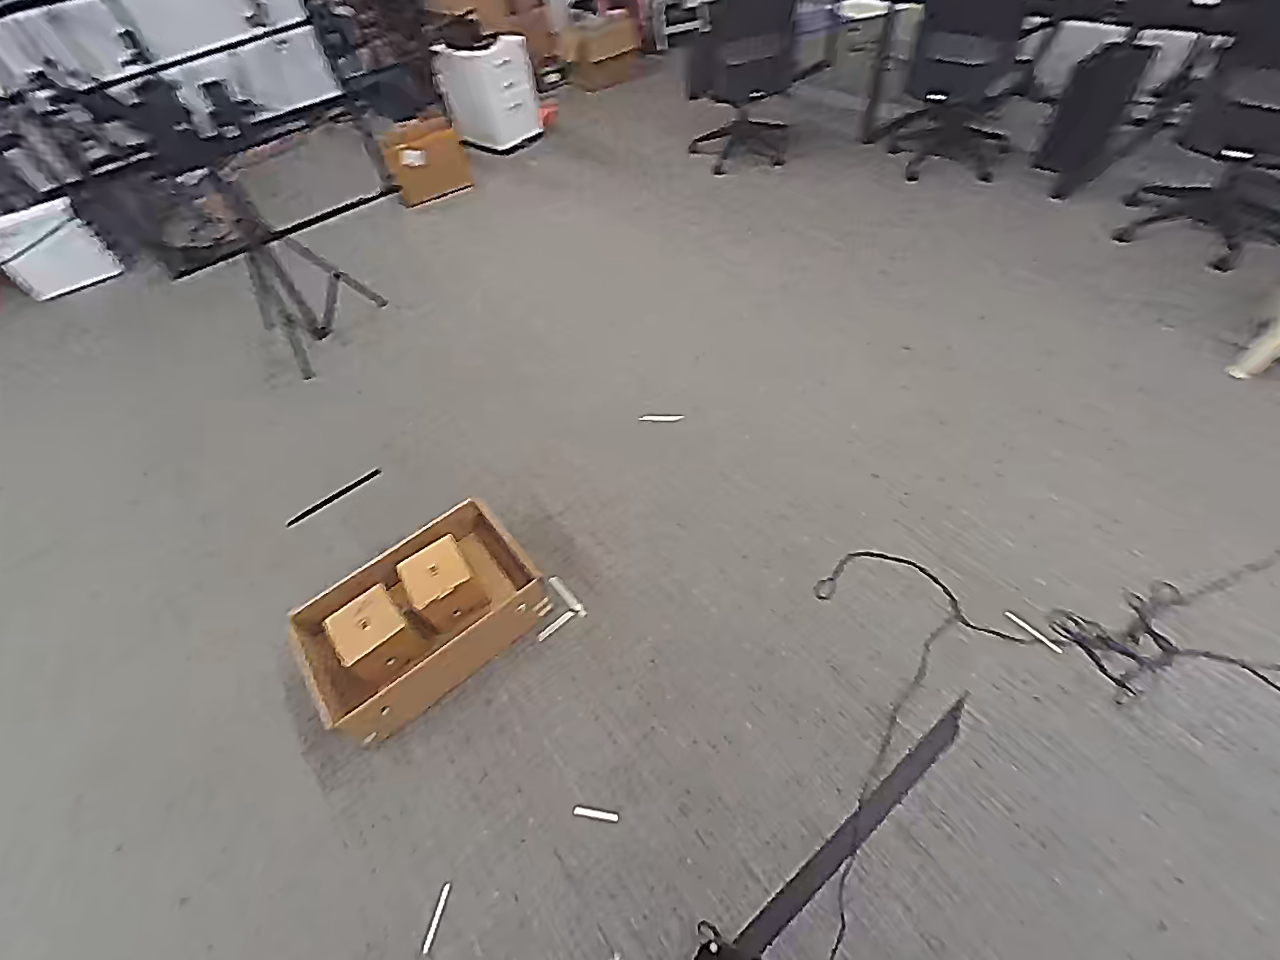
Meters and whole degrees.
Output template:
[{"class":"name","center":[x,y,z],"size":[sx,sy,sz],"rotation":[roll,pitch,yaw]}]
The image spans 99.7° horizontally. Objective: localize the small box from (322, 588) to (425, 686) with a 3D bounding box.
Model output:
[{"class":"small box","center":[-0.725,0.439,1.488],"size":[0.168,0.176,0.179],"rotation":[-36,56,-22]}]

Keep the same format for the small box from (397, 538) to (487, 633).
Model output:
[{"class":"small box","center":[-0.572,0.311,1.574],"size":[0.168,0.176,0.179],"rotation":[-32,54,-16]}]
